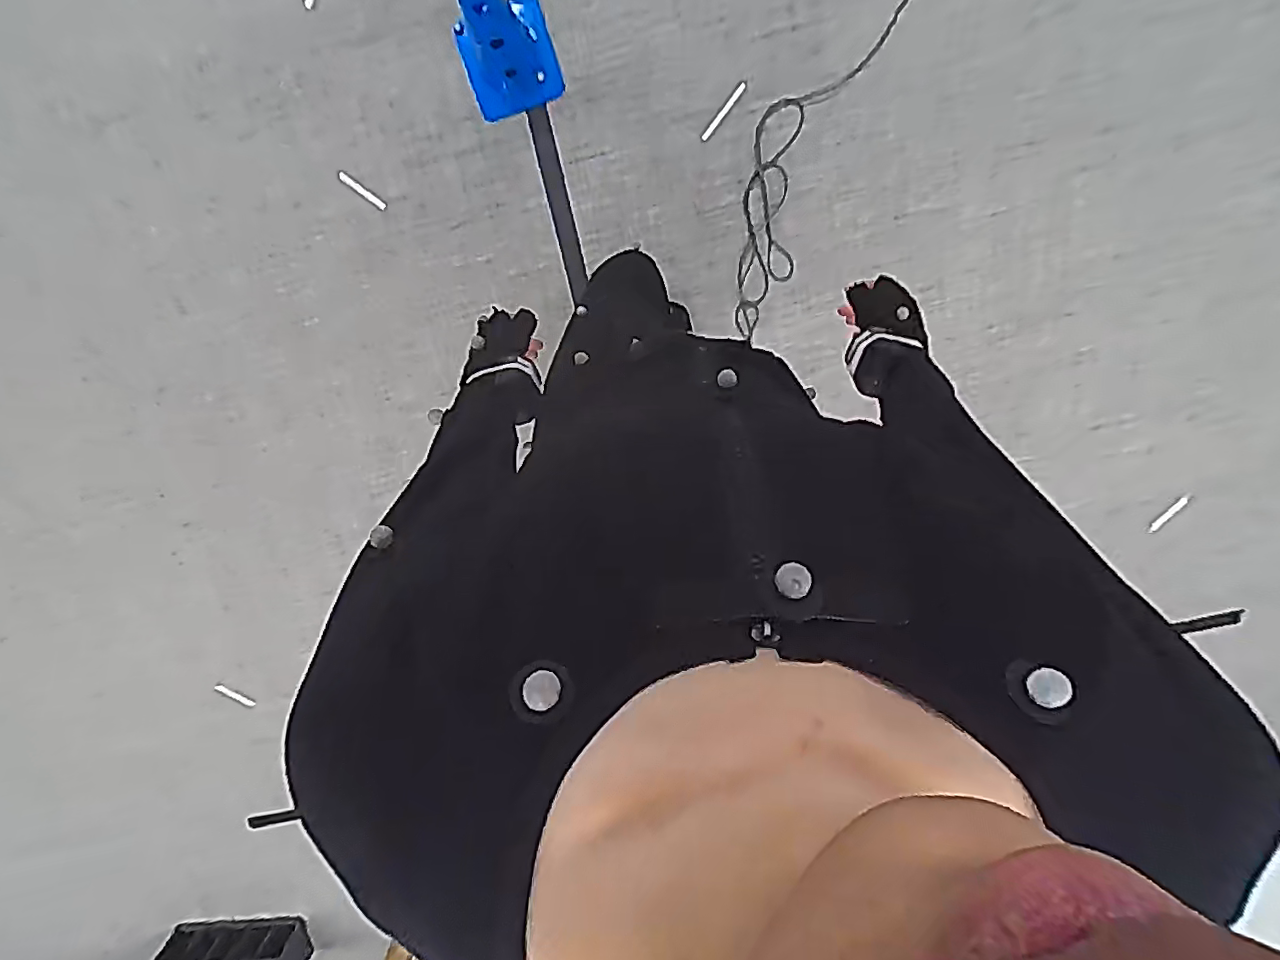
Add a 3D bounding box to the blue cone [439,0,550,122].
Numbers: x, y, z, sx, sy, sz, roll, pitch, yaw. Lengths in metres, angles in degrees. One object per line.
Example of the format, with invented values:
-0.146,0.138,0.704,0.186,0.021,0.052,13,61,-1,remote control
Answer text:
-0.307,-0.865,1.034,0.192,0.380,0.193,-16,107,5,blue cone
